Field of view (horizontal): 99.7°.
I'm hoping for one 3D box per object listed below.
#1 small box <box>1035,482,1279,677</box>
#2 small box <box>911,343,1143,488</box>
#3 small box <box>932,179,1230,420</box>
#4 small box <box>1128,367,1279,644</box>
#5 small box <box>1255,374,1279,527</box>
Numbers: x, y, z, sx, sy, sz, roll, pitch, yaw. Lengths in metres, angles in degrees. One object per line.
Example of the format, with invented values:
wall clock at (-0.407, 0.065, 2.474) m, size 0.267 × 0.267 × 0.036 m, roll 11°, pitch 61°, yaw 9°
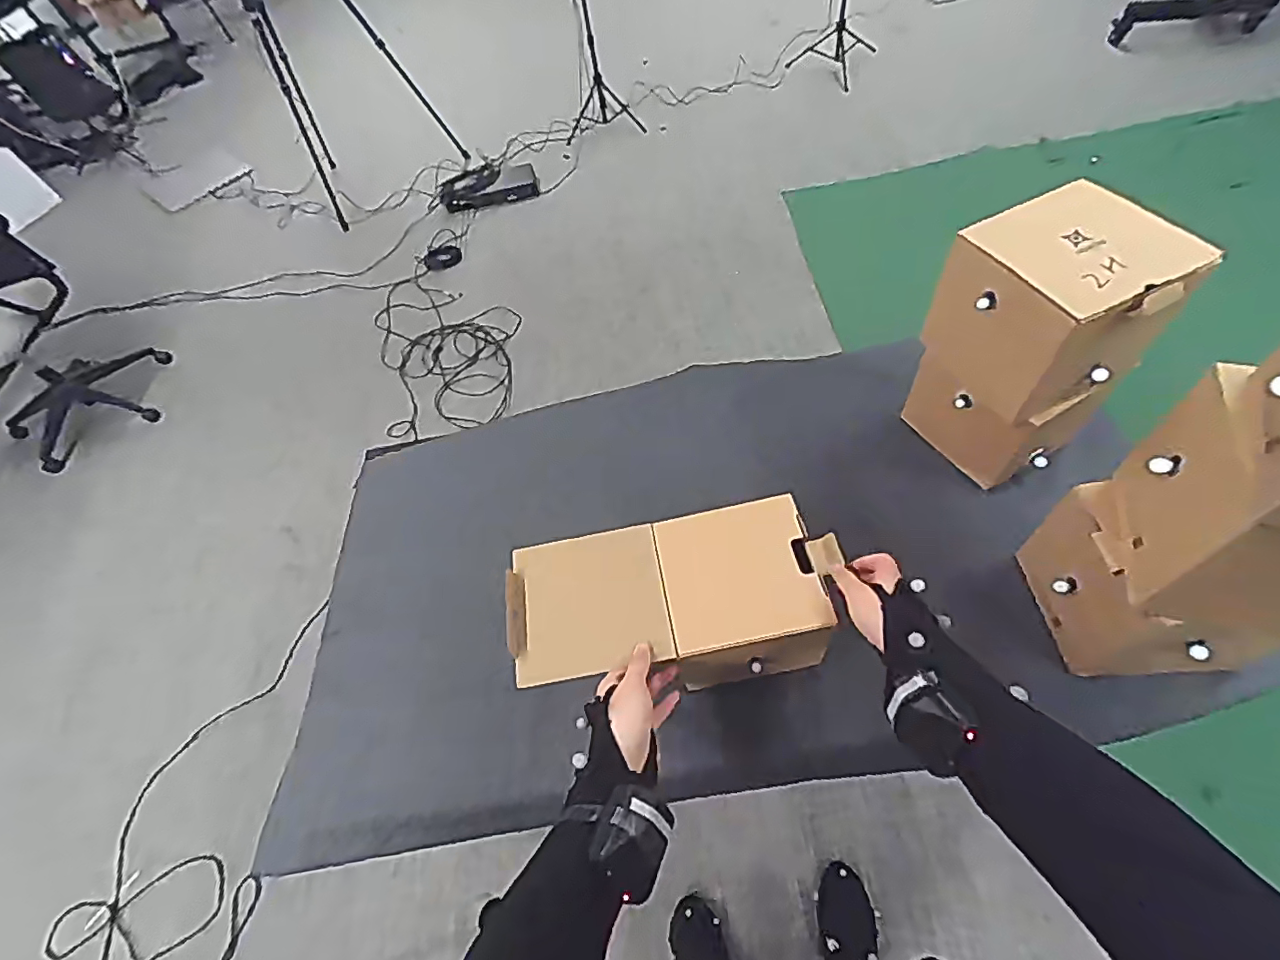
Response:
small box at (0.581, 0.112, 0.600) m, size 0.179 × 0.176 × 0.168 m, roll -6°, pitch 54°, yaw 8°
small box at (0.522, -0.121, 0.765) m, size 0.168 × 0.176 × 0.179 m, roll -30°, pitch 59°, yaw -6°
small box at (0.478, -0.203, 0.628) m, size 0.168 × 0.176 × 0.179 m, roll -24°, pitch 58°, yaw -2°
small box at (0.560, 0.031, 0.459) m, size 0.179 × 0.176 × 0.168 m, roll 13°, pitch 58°, yaw 18°
small box at (0.535, -0.044, 0.312) m, size 0.179 × 0.176 × 0.168 m, roll 22°, pitch 61°, yaw 24°
